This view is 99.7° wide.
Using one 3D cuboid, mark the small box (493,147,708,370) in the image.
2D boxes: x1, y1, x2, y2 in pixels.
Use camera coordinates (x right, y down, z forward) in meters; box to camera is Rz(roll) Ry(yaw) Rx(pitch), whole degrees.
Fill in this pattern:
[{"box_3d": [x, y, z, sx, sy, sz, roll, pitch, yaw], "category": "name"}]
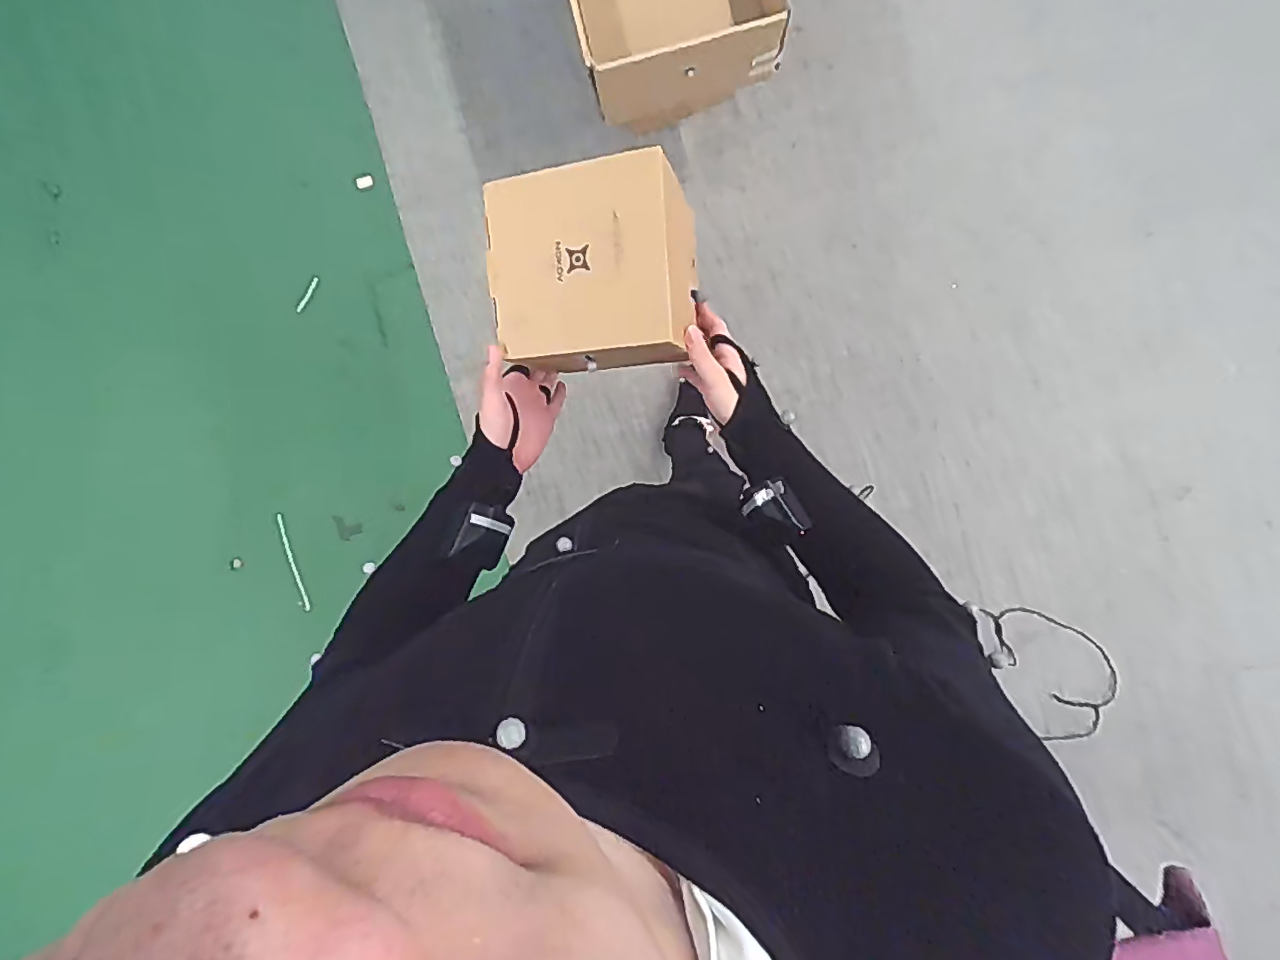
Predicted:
[{"box_3d": [-0.030, -0.210, 0.567, 0.179, 0.176, 0.168, -2, 96, 15], "category": "small box"}]
